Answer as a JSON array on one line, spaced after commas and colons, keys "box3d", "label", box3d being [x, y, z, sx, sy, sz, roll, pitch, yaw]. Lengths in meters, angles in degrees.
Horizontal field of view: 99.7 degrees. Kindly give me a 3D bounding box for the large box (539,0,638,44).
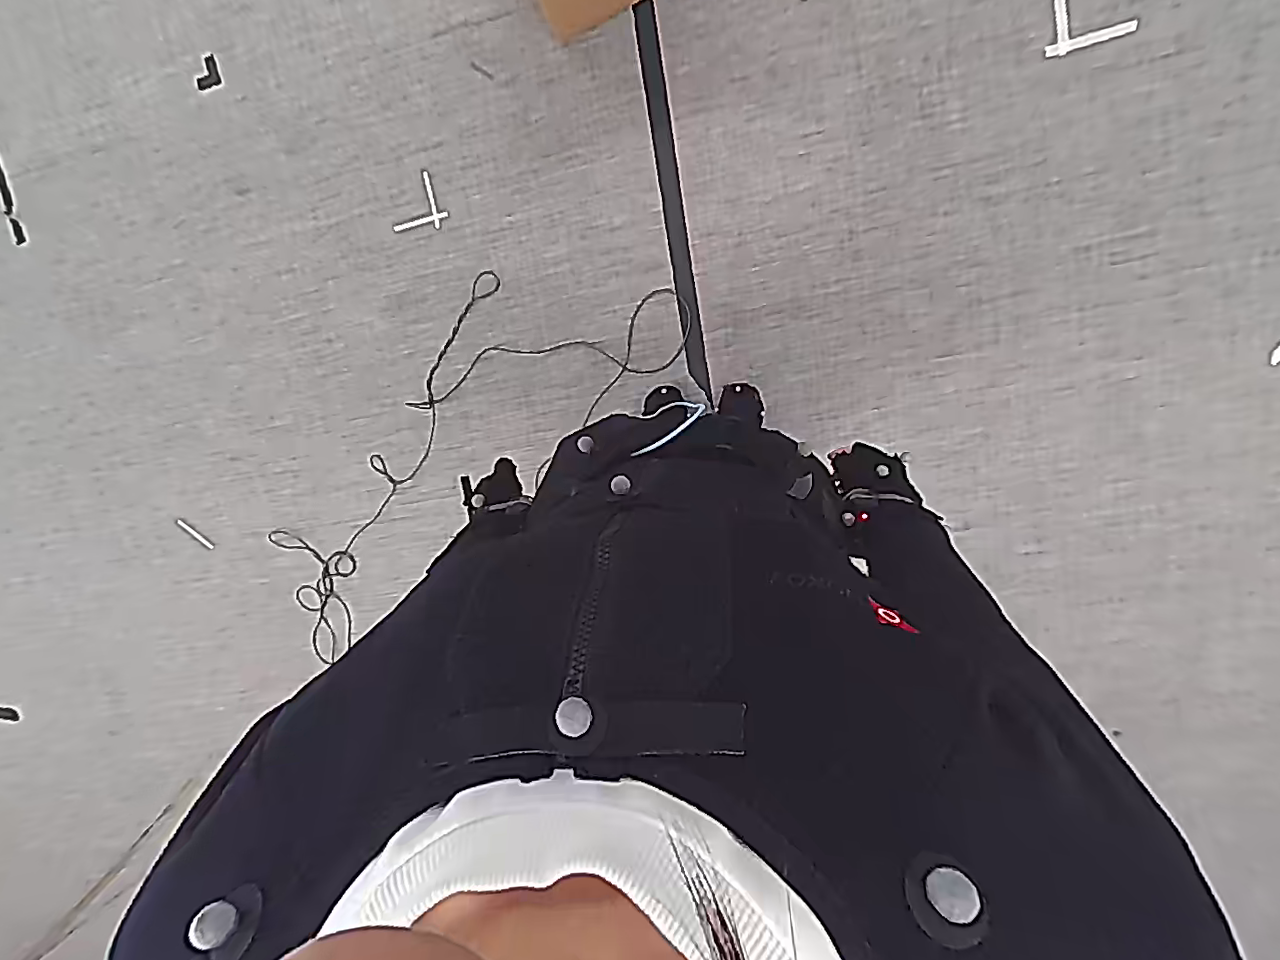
[{"box3d": [-0.087, -1.202, 1.075, 0.408, 0.320, 0.320, -21, 99, 10], "label": "large box"}]
